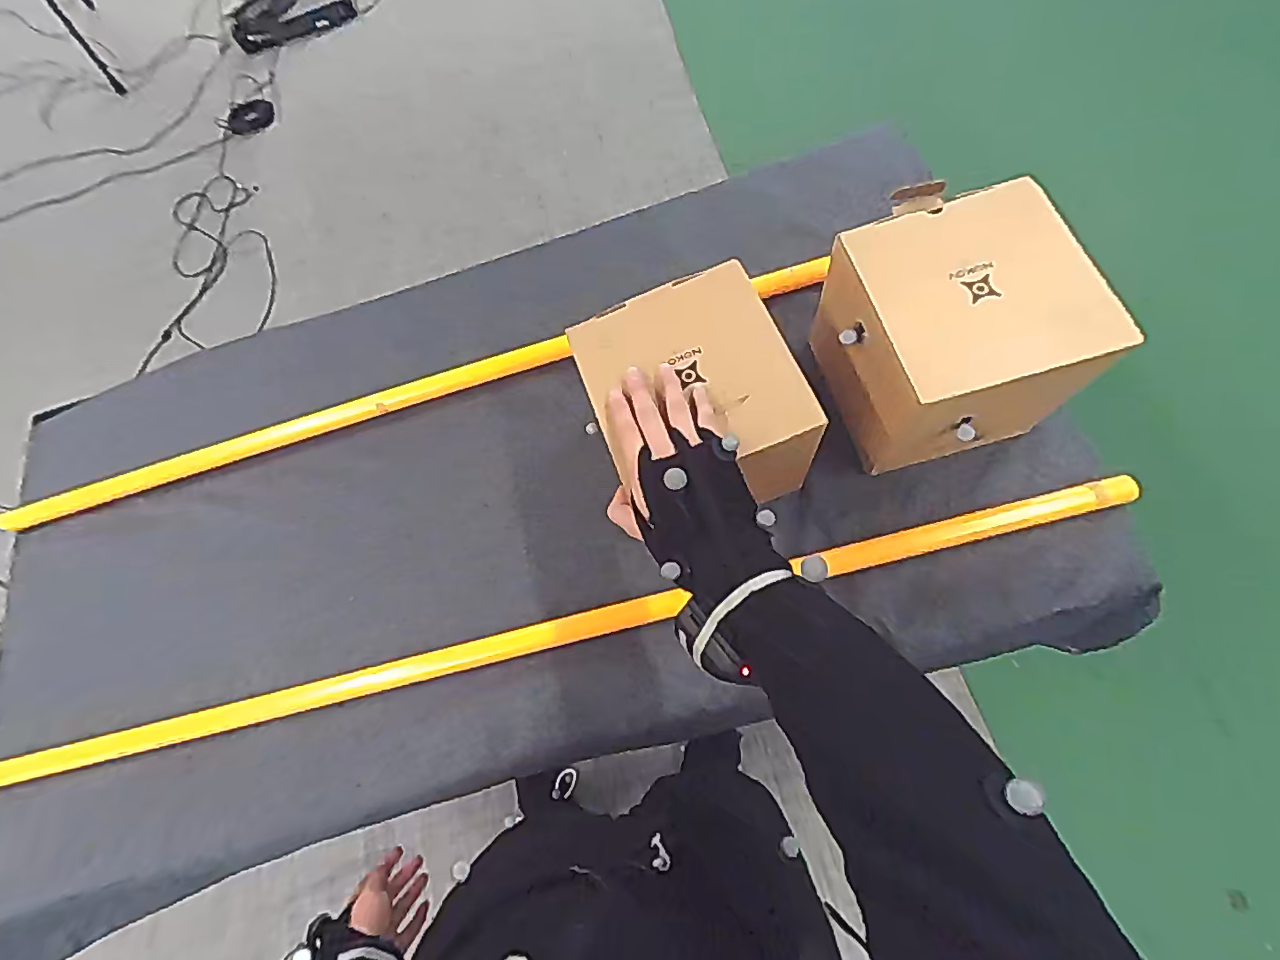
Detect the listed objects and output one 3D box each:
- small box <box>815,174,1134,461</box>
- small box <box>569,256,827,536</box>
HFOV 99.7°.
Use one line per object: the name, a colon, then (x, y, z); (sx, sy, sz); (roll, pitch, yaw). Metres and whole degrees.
small box: (0.278, -0.132, 0.504); (0.168, 0.176, 0.179); (-16, 69, 4)
small box: (0.052, -0.067, 0.519); (0.168, 0.176, 0.179); (-23, 70, 2)
